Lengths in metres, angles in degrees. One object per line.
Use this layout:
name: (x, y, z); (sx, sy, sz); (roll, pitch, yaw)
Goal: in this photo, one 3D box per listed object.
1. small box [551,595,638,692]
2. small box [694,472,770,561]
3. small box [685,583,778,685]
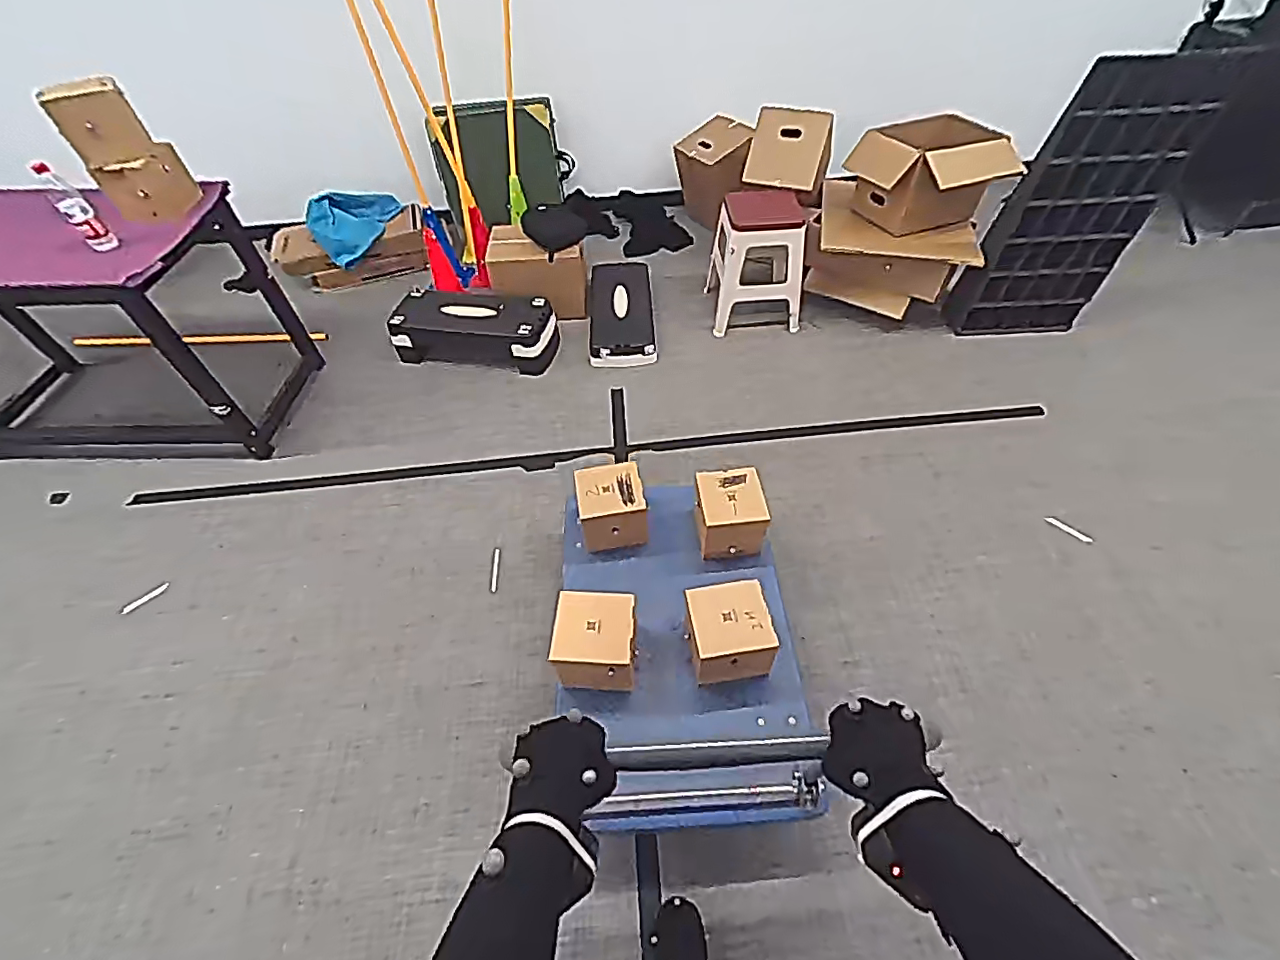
small box: (-0.098, 0.383, 1.261); (0.179, 0.176, 0.168); (2, 51, 3)
small box: (0.243, 0.100, 1.474); (0.168, 0.176, 0.179); (-6, 52, -2)
small box: (0.205, 0.363, 1.262); (0.179, 0.176, 0.168); (-8, 51, -3)
